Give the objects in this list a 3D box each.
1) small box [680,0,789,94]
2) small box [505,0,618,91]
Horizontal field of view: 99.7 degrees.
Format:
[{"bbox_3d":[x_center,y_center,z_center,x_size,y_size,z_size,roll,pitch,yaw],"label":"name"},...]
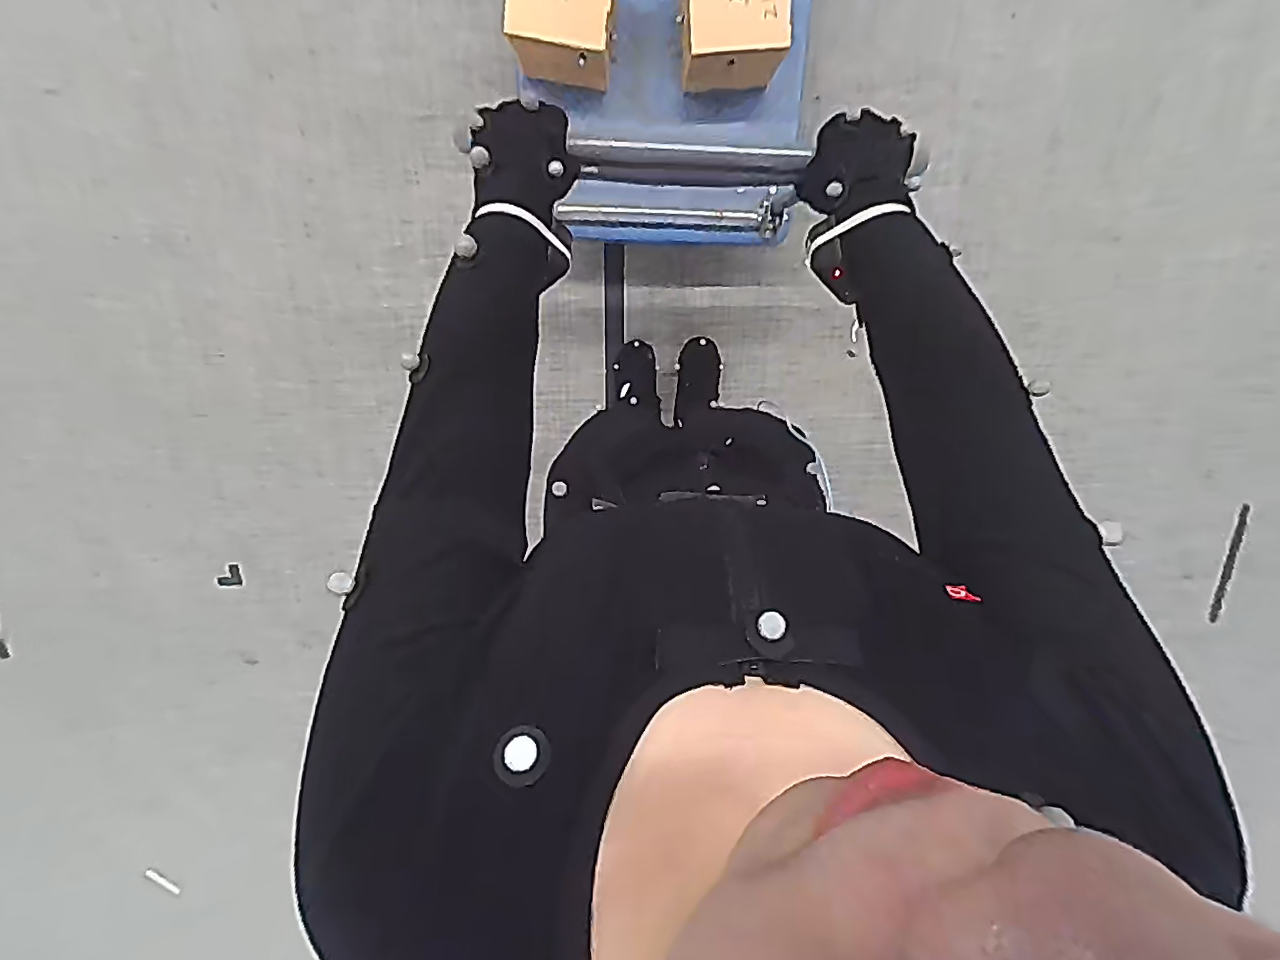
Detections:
[{"bbox_3d":[0.166,-0.839,0.997,0.179,0.176,0.168,-4,107,0],"label":"small box"},{"bbox_3d":[-0.137,-0.845,0.988,0.179,0.176,0.168,7,106,-5],"label":"small box"}]
